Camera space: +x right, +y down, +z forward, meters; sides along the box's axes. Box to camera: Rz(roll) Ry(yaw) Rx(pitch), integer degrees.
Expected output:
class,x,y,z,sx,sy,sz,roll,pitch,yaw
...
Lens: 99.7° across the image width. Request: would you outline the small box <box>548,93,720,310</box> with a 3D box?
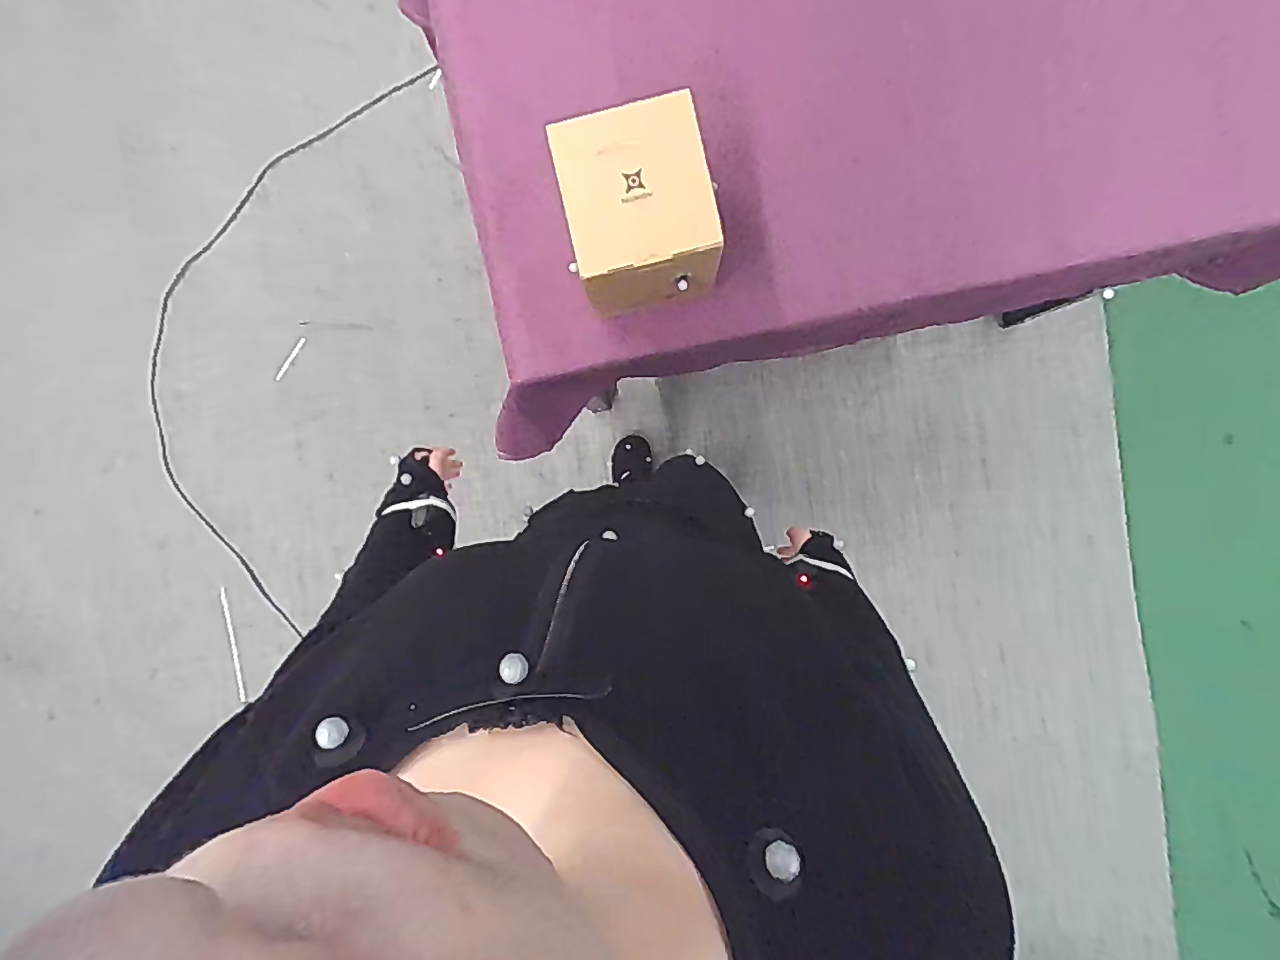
class,x,y,z,sx,sy,sz,roll,pitch,yaw
small box,-0.004,-0.327,0.678,0.168,0.176,0.179,-13,91,1
